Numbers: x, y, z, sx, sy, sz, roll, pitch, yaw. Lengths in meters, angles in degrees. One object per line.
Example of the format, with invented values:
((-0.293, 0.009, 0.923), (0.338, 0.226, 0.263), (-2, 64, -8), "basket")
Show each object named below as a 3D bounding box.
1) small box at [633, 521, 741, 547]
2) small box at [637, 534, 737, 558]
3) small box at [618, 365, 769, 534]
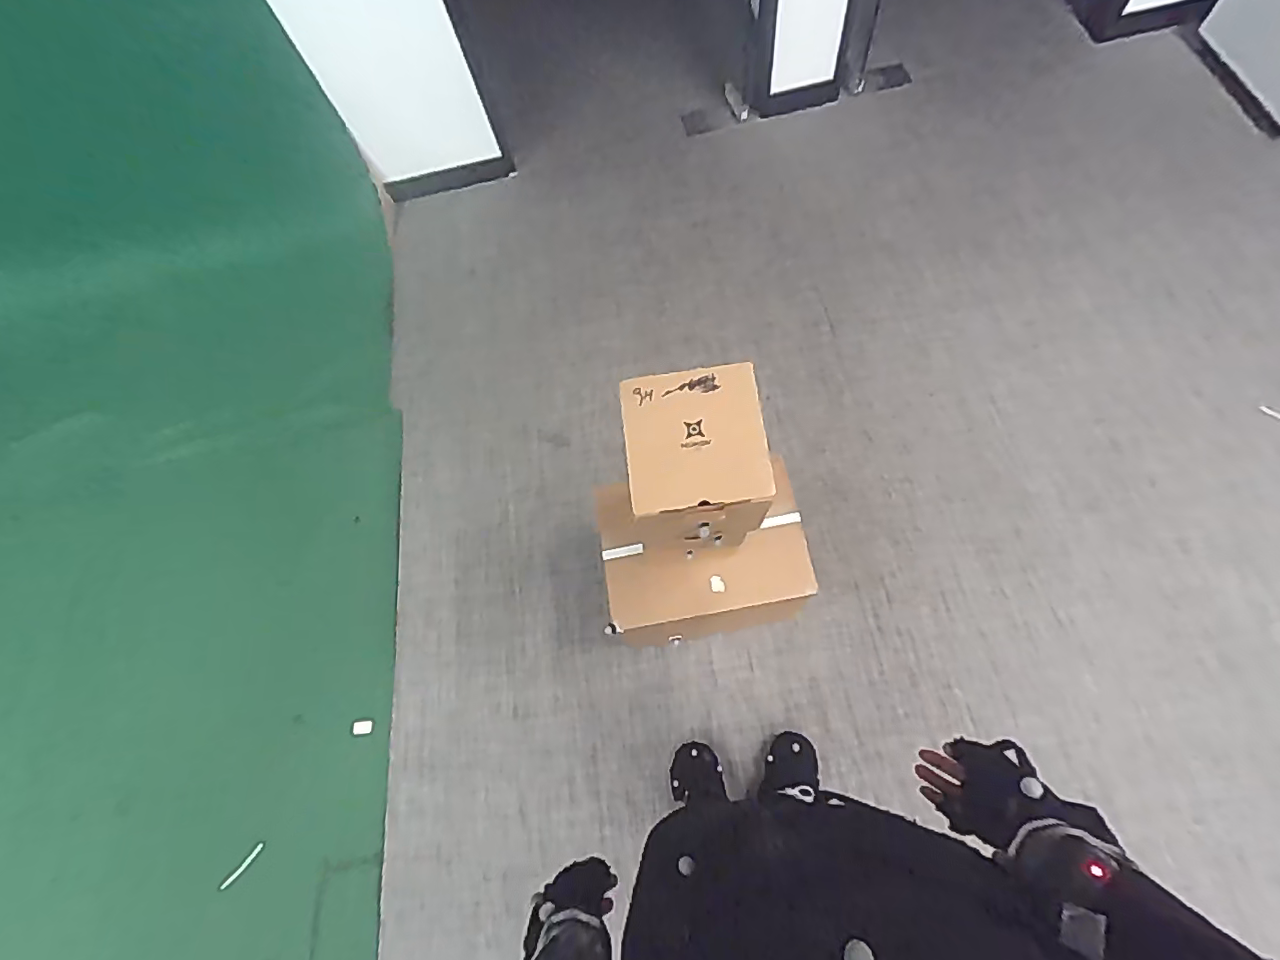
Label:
((0.076, 0.009, 0.877), (0.168, 0.176, 0.179), (-4, 72, 4), "small box")
((0.086, 0.052, 1.031), (0.179, 0.176, 0.168), (-5, 71, 5), "small box")
((0.069, -0.028, 0.718), (0.168, 0.176, 0.179), (-7, 73, 3), "small box")
